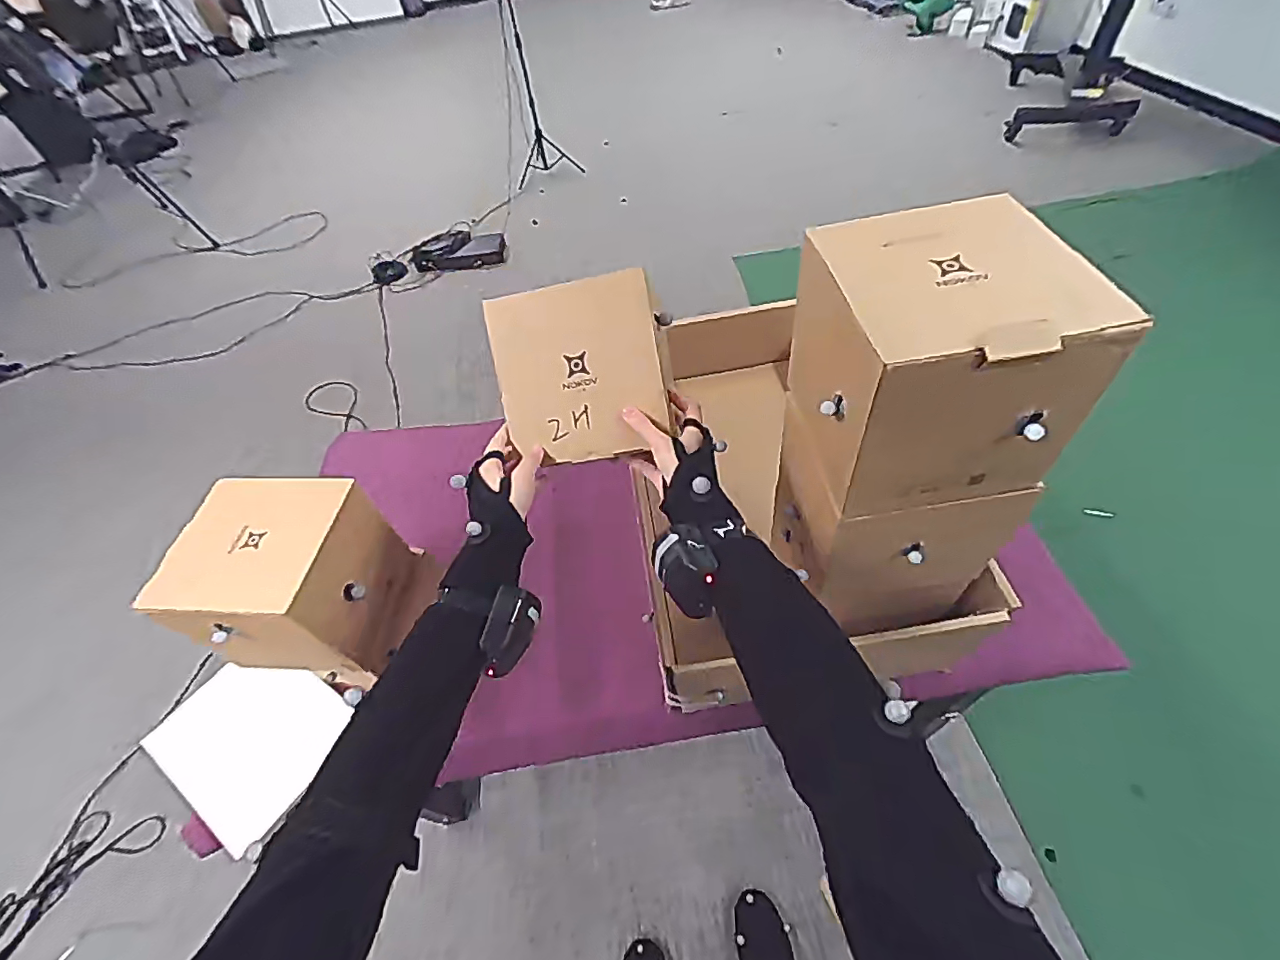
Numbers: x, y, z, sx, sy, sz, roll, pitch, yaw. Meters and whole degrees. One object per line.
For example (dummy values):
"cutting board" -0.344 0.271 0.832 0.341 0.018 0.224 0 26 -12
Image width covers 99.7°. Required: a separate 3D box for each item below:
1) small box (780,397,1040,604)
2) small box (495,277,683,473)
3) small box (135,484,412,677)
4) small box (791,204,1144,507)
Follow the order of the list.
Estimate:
"small box" 0.255 0.013 0.567 0.179 0.176 0.168 -9 51 3
"small box" -0.046 -0.111 0.619 0.168 0.179 0.176 -8 6 9
"small box" -0.401 0.121 0.634 0.179 0.176 0.168 0 51 8
"small box" 0.231 -0.092 0.445 0.168 0.176 0.179 -9 50 2
